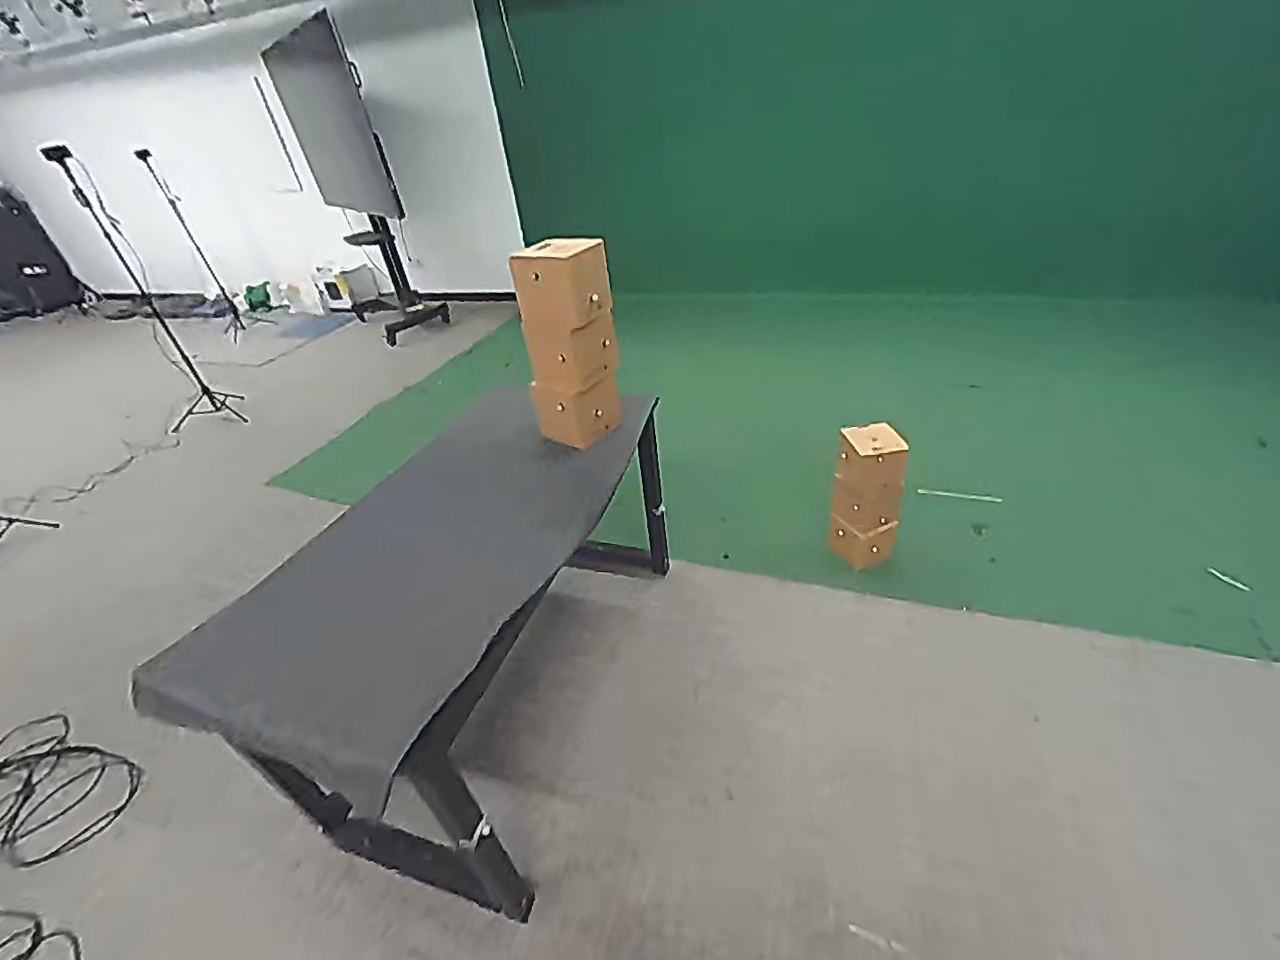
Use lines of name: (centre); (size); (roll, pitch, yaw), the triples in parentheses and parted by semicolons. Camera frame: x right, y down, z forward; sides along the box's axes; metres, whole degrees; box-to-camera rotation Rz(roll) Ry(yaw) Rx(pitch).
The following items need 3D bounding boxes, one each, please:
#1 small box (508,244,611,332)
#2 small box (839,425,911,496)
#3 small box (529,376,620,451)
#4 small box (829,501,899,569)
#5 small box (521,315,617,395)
small box: (-0.193, -0.477, 1.345); (0.179, 0.176, 0.168); (12, 39, 27)
small box: (0.795, -0.066, 1.850); (0.168, 0.176, 0.179); (-9, 35, -1)
small box: (-0.176, -0.198, 1.516); (0.179, 0.176, 0.168); (19, 43, 36)
small box: (0.833, 0.213, 2.022); (0.168, 0.176, 0.179); (-20, 36, -16)
small box: (-0.181, -0.340, 1.434); (0.179, 0.176, 0.168); (15, 40, 32)
